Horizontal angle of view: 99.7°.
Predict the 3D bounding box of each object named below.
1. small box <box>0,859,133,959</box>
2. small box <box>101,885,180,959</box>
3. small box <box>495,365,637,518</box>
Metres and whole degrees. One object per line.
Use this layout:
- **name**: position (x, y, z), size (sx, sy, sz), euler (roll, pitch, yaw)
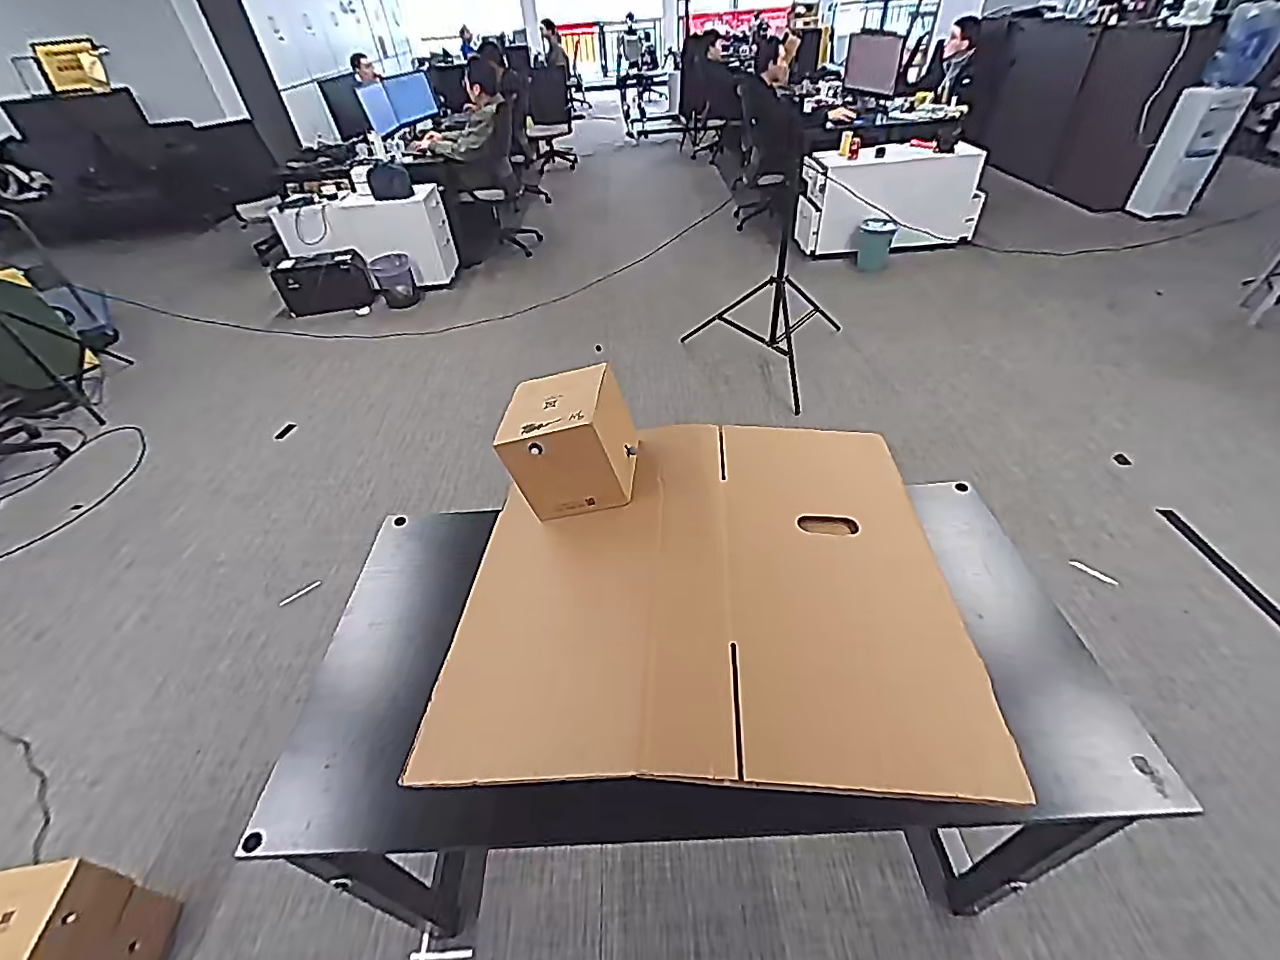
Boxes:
- **small box**: position (-1.152, 0.870, 1.044), size (0.168, 0.176, 0.179), euler (-8, 41, -4)
- **small box**: position (-1.140, 0.994, 1.148), size (0.168, 0.176, 0.179), euler (-7, 42, -2)
- **small box**: position (-0.110, -0.062, 0.900), size (0.168, 0.176, 0.179), euler (-12, 39, 16)
